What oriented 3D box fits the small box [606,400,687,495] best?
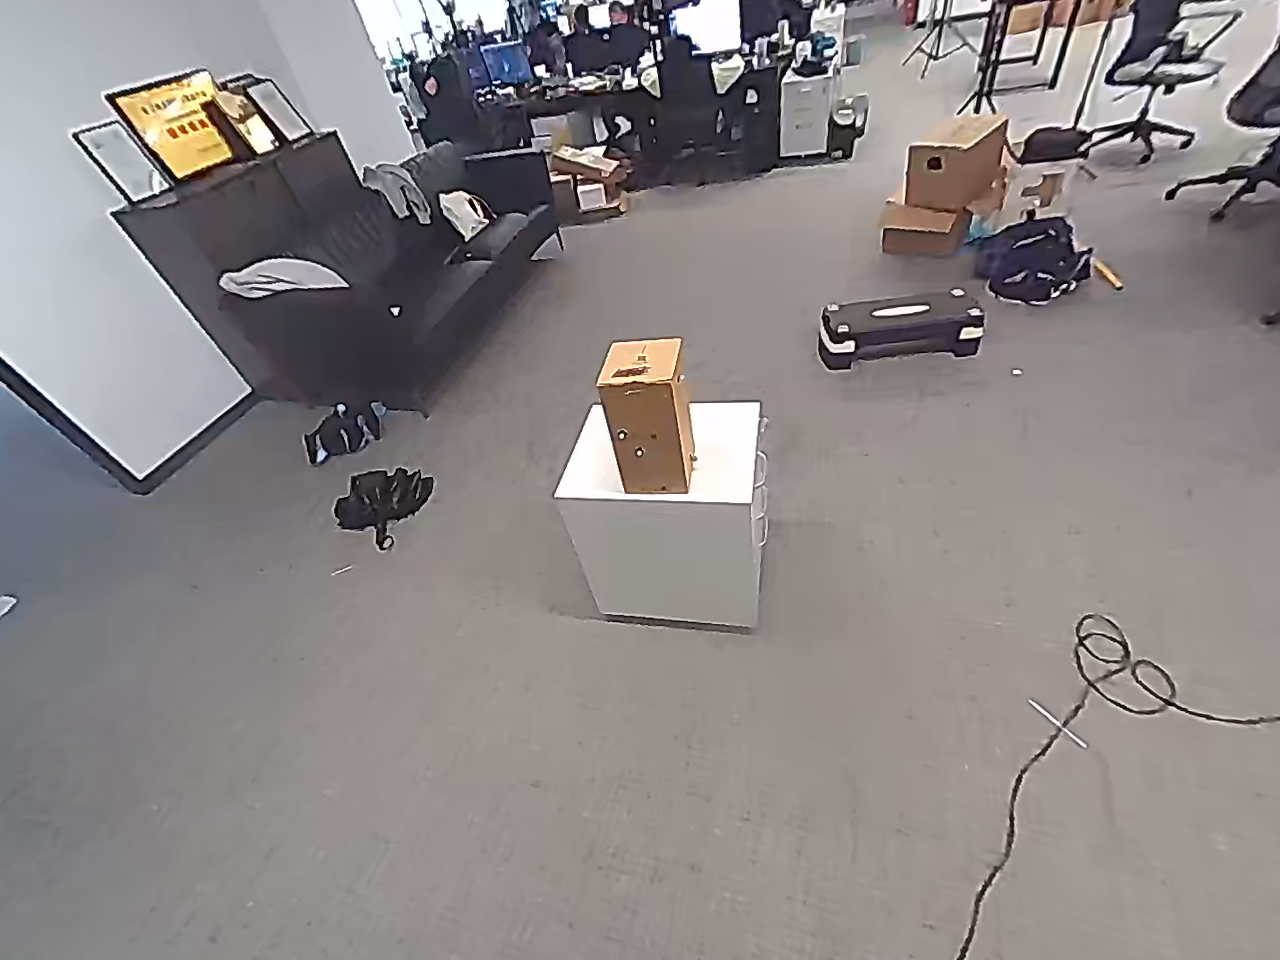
[{"bbox_3d":[0.025,-0.082,1.358,0.168,0.176,0.179,-1,42,13],"label":"small box"}]

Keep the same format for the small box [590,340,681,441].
[{"bbox_3d":[-0.002,-0.201,1.248,0.168,0.176,0.179,0,42,13],"label":"small box"}]
